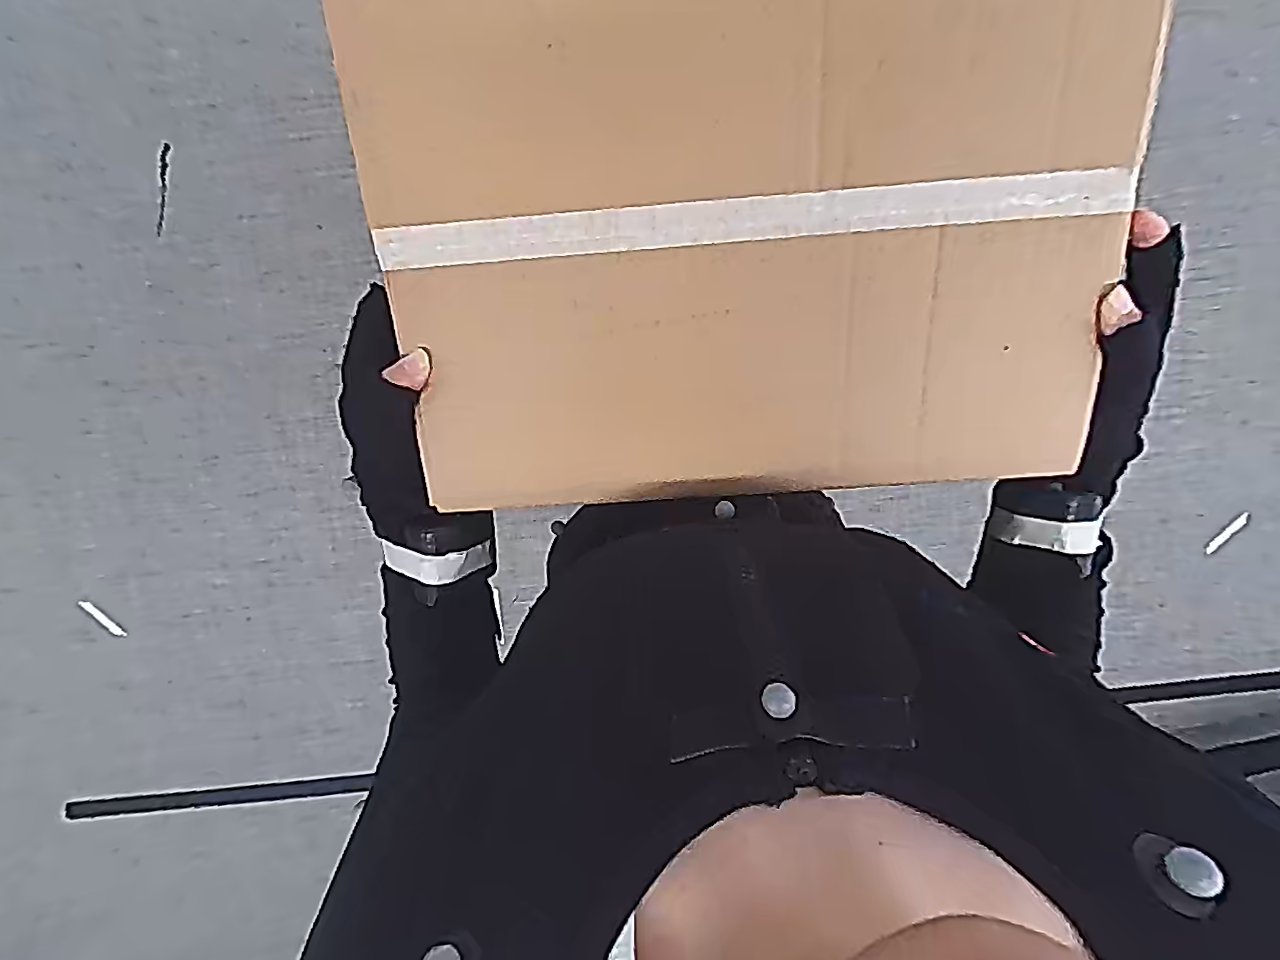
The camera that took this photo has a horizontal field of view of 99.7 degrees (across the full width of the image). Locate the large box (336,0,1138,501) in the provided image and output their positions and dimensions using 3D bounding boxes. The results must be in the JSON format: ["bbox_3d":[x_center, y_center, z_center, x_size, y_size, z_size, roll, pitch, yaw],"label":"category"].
[{"bbox_3d":[0.053,-0.193,0.442,0.408,0.320,0.320,-4,110,1],"label":"large box"}]
